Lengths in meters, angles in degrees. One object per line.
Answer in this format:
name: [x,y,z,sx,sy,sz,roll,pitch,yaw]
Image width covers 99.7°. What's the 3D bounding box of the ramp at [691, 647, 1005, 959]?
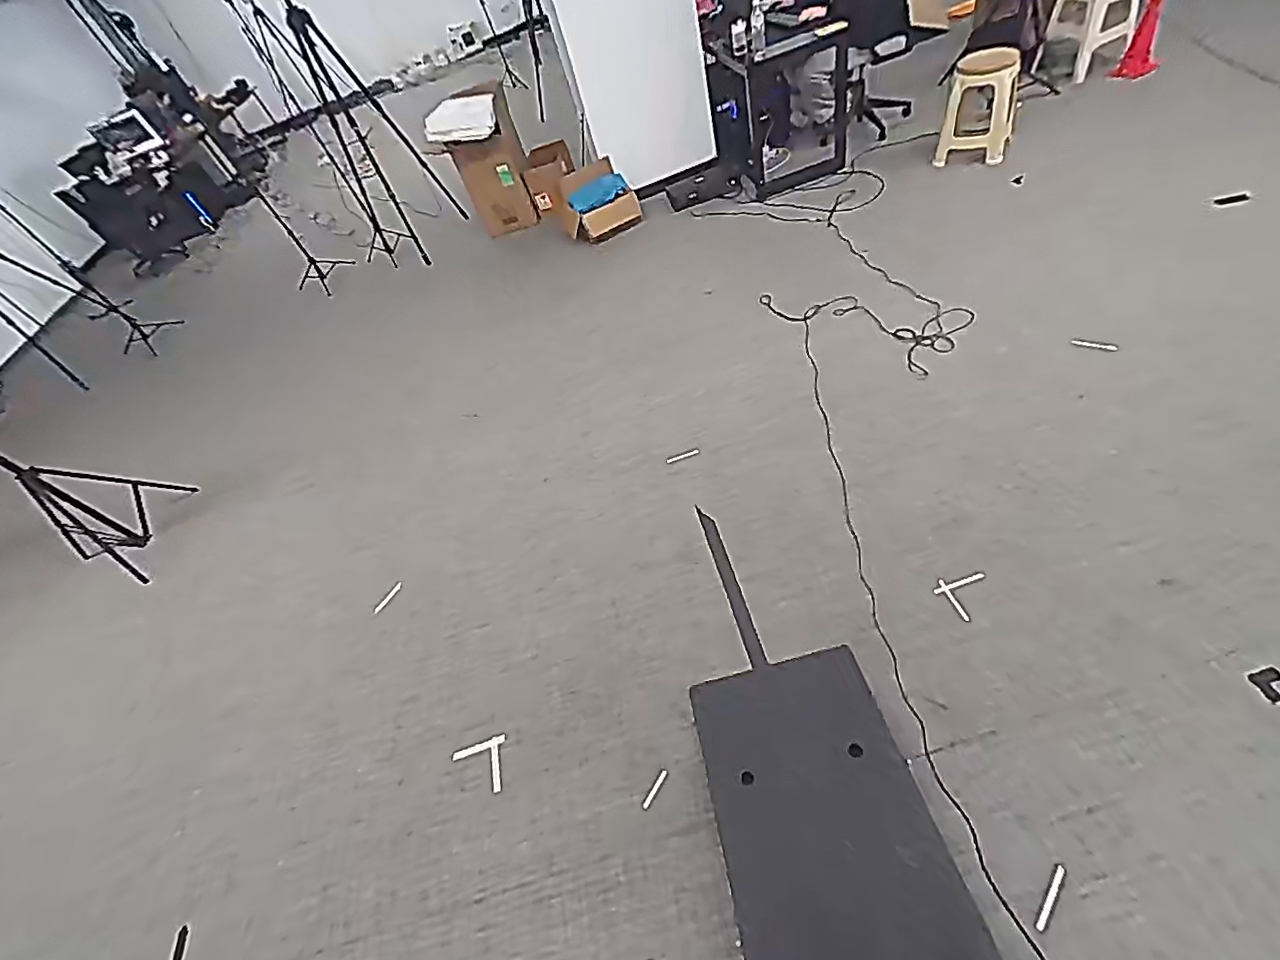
ramp: [0.439,0.862,1.221,0.509,0.206,0.991,-19,47,5]
